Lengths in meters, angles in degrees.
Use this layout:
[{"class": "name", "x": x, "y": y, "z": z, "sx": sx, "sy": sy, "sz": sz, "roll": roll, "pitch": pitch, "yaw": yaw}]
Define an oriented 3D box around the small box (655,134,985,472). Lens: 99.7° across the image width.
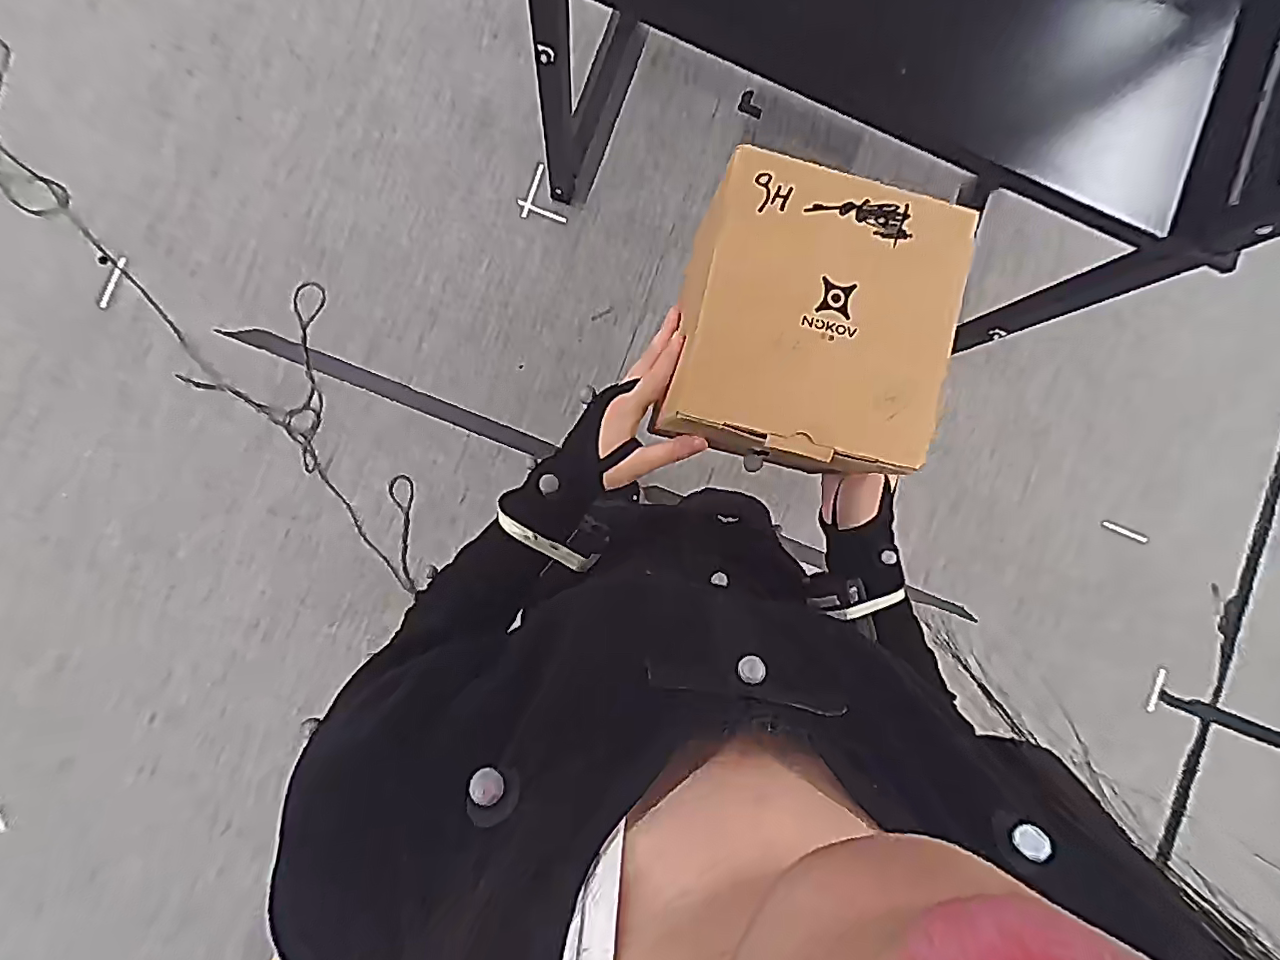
[{"class": "small box", "x": 0.112, "y": -0.110, "z": 0.413, "sx": 0.168, "sy": 0.176, "sz": 0.179, "roll": 13, "pitch": 91, "yaw": -6}]
